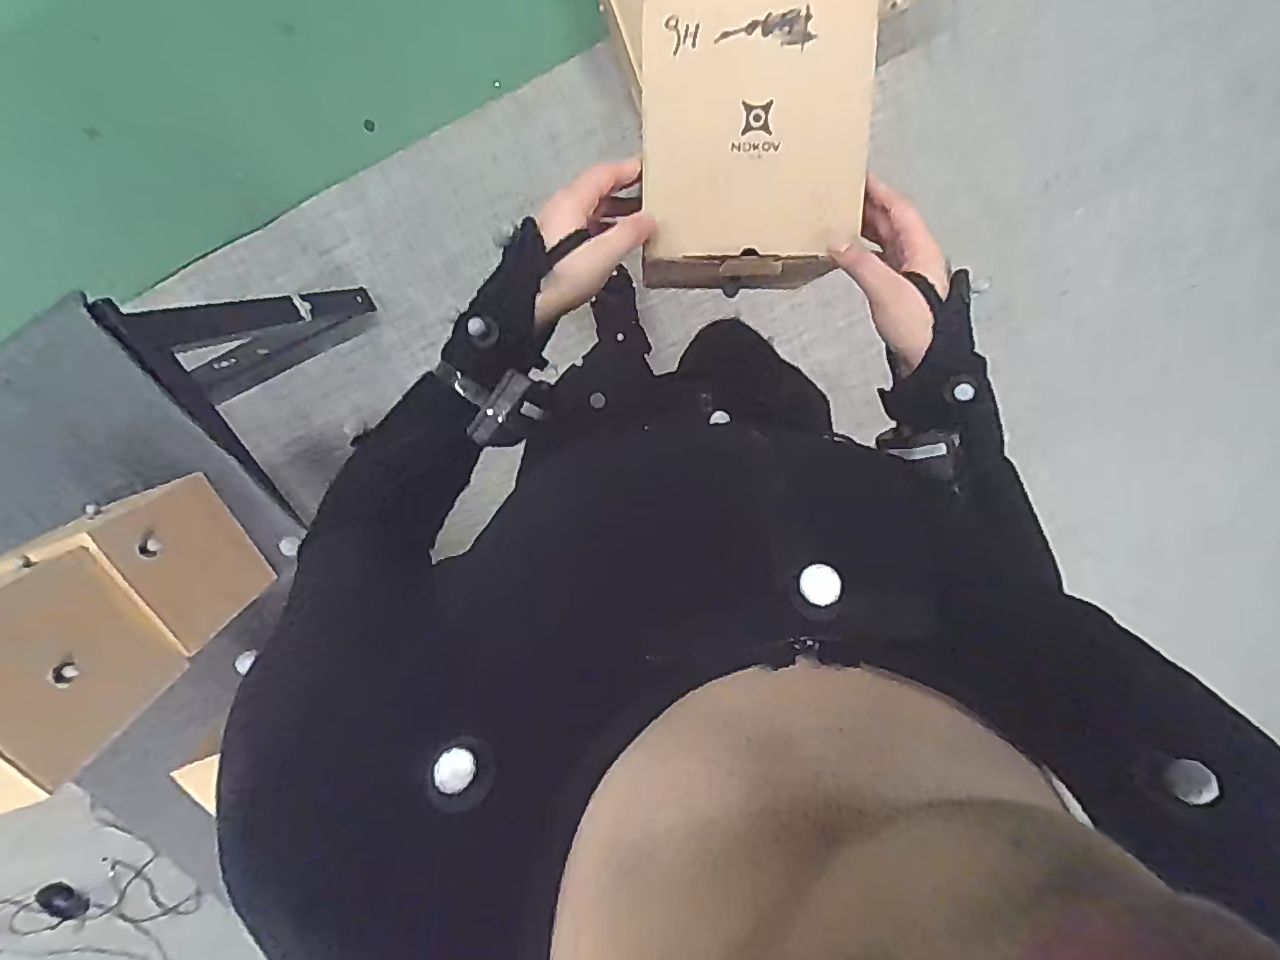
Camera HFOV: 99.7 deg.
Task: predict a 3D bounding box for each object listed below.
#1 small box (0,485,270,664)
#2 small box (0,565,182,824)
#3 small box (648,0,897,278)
[{"bbox_3d":[-0.611,0.122,0.658,0.168,0.176,0.179,-18,113,6],"label":"small box"},{"bbox_3d":[-0.612,0.202,0.513,0.168,0.176,0.179,-19,113,6],"label":"small box"},{"bbox_3d":[0.091,-0.273,0.462,0.168,0.176,0.179,0,104,0],"label":"small box"}]
